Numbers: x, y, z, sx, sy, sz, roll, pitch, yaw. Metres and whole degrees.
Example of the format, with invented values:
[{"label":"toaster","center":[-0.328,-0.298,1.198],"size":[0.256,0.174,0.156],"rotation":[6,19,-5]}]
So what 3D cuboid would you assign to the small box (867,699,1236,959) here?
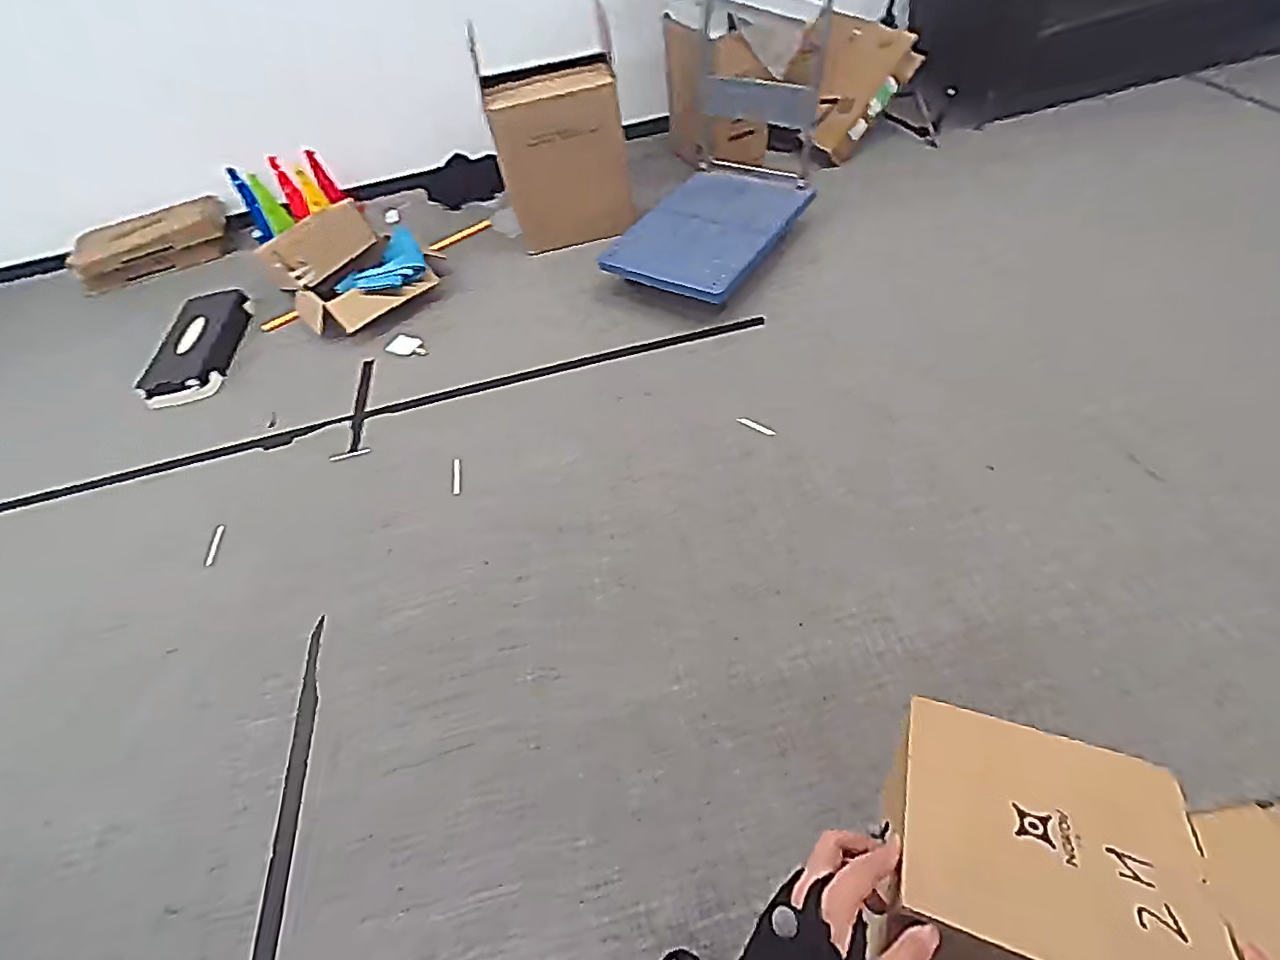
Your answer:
[{"label":"small box","center":[0.276,0.306,0.404],"size":[0.179,0.176,0.168],"rotation":[10,35,23]}]
